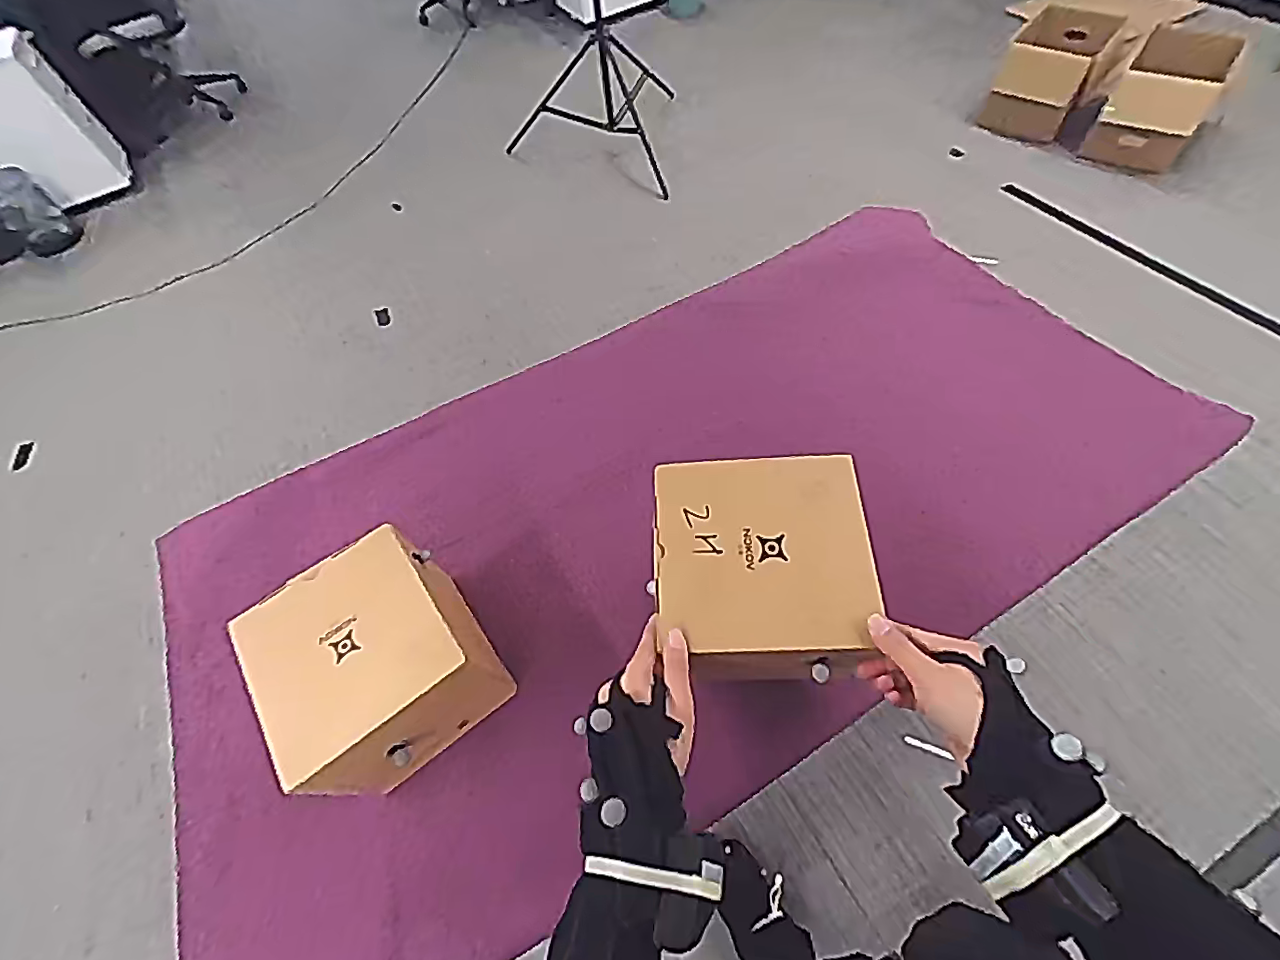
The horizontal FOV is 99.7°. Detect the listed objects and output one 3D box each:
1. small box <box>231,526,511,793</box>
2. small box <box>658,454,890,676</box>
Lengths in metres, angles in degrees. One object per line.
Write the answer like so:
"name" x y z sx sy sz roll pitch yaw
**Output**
"small box" -0.258 0.185 0.552 0.168 0.176 0.179 -36 62 -15
"small box" 0.109 0.089 0.515 0.179 0.176 0.168 -3 62 5
